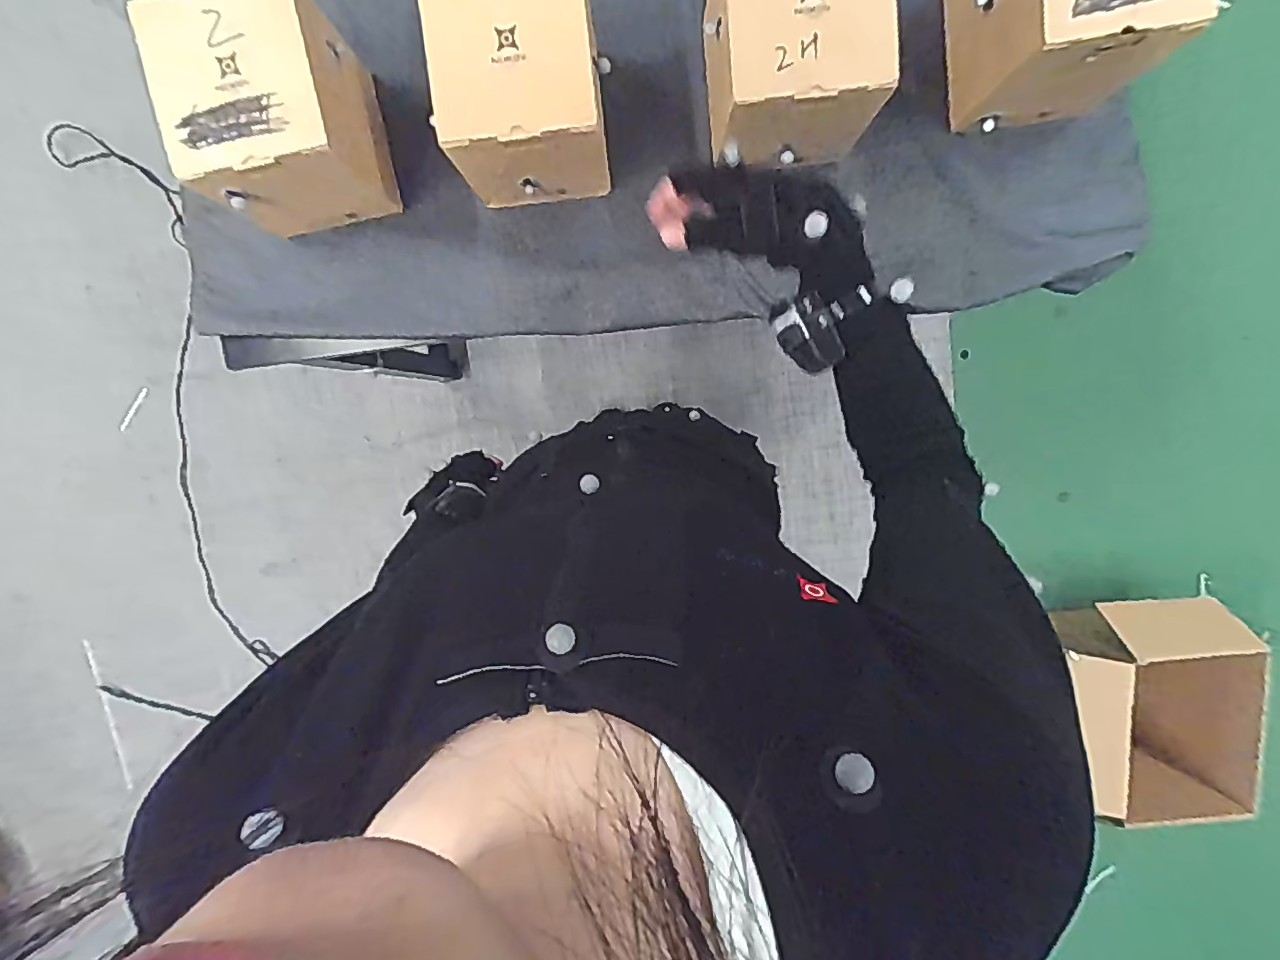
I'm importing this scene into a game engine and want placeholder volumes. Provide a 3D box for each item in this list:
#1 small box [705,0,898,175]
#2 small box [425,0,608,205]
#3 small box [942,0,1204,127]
[{"bbox_3d":[0.168,-0.476,0.609,0.168,0.176,0.179,-5,98,1],"label":"small box"},{"bbox_3d":[-0.128,-0.441,0.615,0.168,0.176,0.179,-6,98,0],"label":"small box"},{"bbox_3d":[0.464,-0.525,0.602,0.168,0.176,0.179,-7,97,1],"label":"small box"}]
